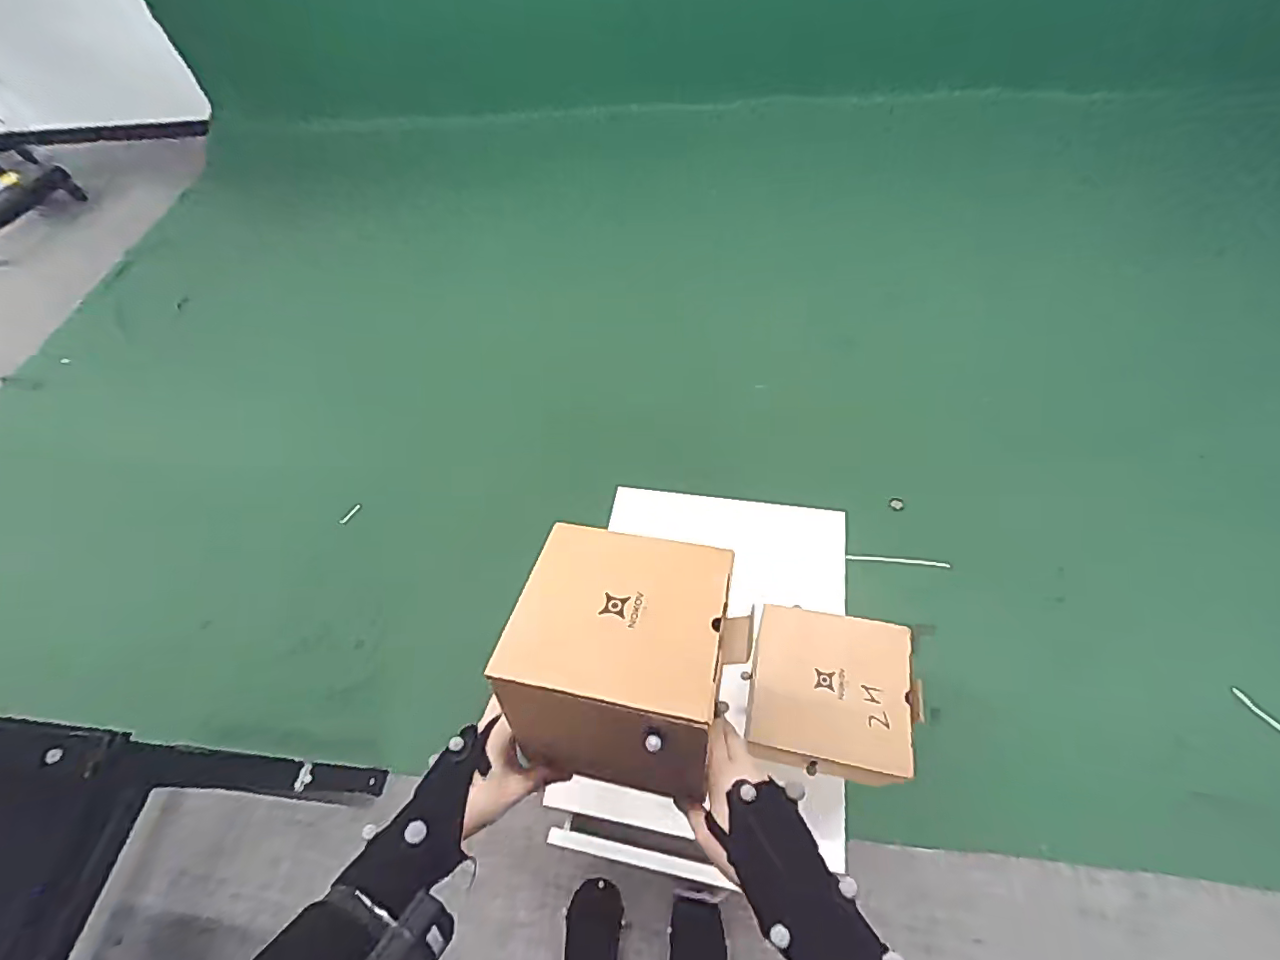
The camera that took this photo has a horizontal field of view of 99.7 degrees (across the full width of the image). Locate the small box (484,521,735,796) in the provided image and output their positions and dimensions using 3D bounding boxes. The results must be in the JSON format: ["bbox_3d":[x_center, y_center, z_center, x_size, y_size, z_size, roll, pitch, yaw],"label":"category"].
[{"bbox_3d":[-0.014,0.162,0.499,0.179,0.176,0.168,8,42,11],"label":"small box"}]

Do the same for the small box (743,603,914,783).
[{"bbox_3d":[0.228,0.273,0.682,0.179,0.176,0.168,8,61,12],"label":"small box"}]
